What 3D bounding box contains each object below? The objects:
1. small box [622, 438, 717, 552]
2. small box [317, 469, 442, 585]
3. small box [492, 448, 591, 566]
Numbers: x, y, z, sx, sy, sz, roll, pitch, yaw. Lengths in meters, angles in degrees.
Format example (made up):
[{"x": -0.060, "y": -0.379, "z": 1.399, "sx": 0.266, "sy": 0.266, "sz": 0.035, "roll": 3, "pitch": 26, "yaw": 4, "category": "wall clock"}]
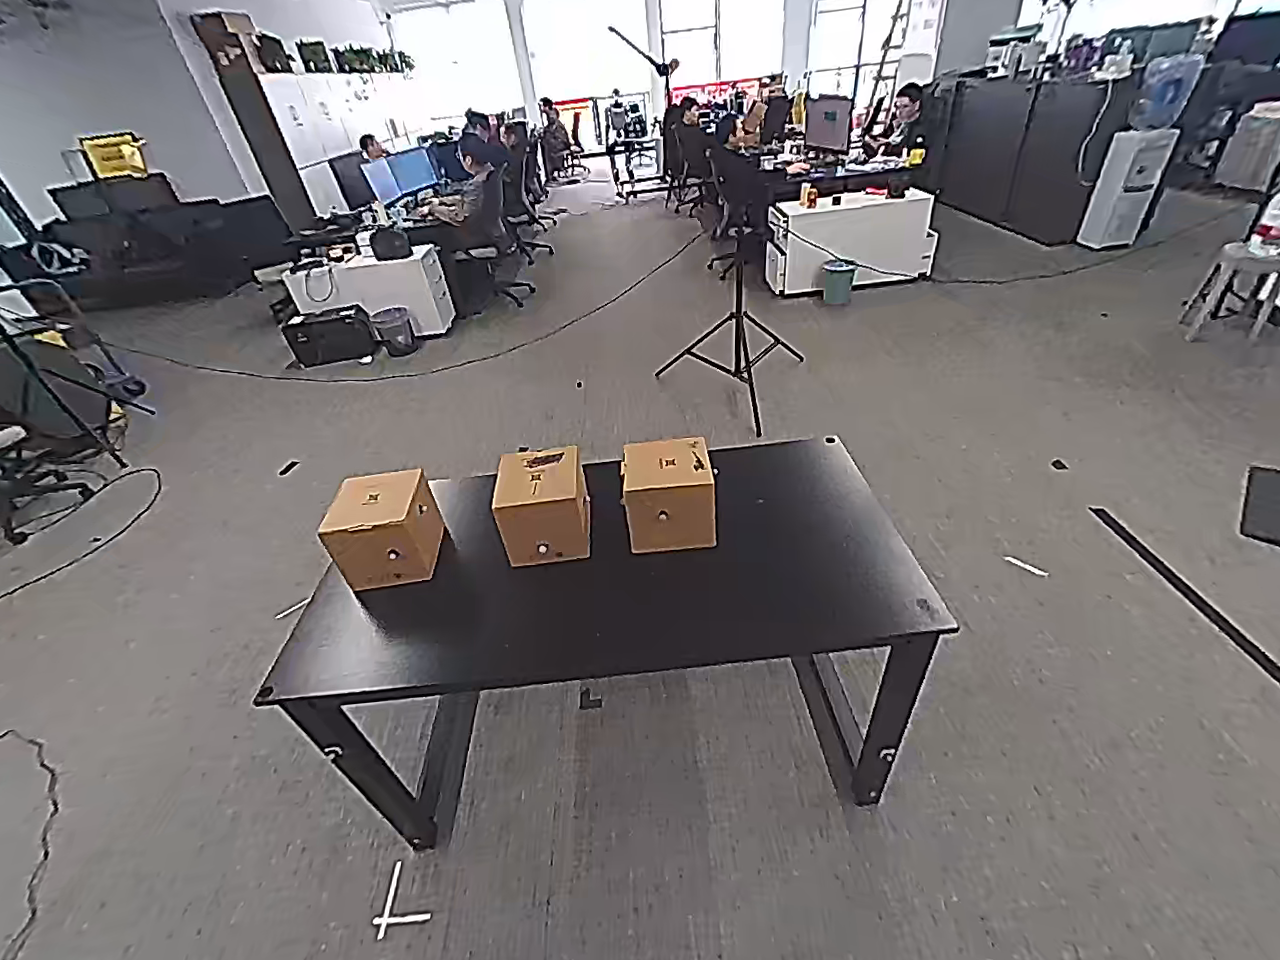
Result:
[{"x": 0.061, "y": 0.034, "z": 1.124, "sx": 0.179, "sy": 0.176, "sz": 0.168, "roll": -6, "pitch": 37, "yaw": 3, "category": "small box"}, {"x": -0.527, "y": 0.103, "z": 1.126, "sx": 0.168, "sy": 0.176, "sz": 0.179, "roll": -7, "pitch": 36, "yaw": -3, "category": "small box"}, {"x": -0.198, "y": 0.057, "z": 1.134, "sx": 0.168, "sy": 0.176, "sz": 0.179, "roll": -7, "pitch": 38, "yaw": 0, "category": "small box"}]
